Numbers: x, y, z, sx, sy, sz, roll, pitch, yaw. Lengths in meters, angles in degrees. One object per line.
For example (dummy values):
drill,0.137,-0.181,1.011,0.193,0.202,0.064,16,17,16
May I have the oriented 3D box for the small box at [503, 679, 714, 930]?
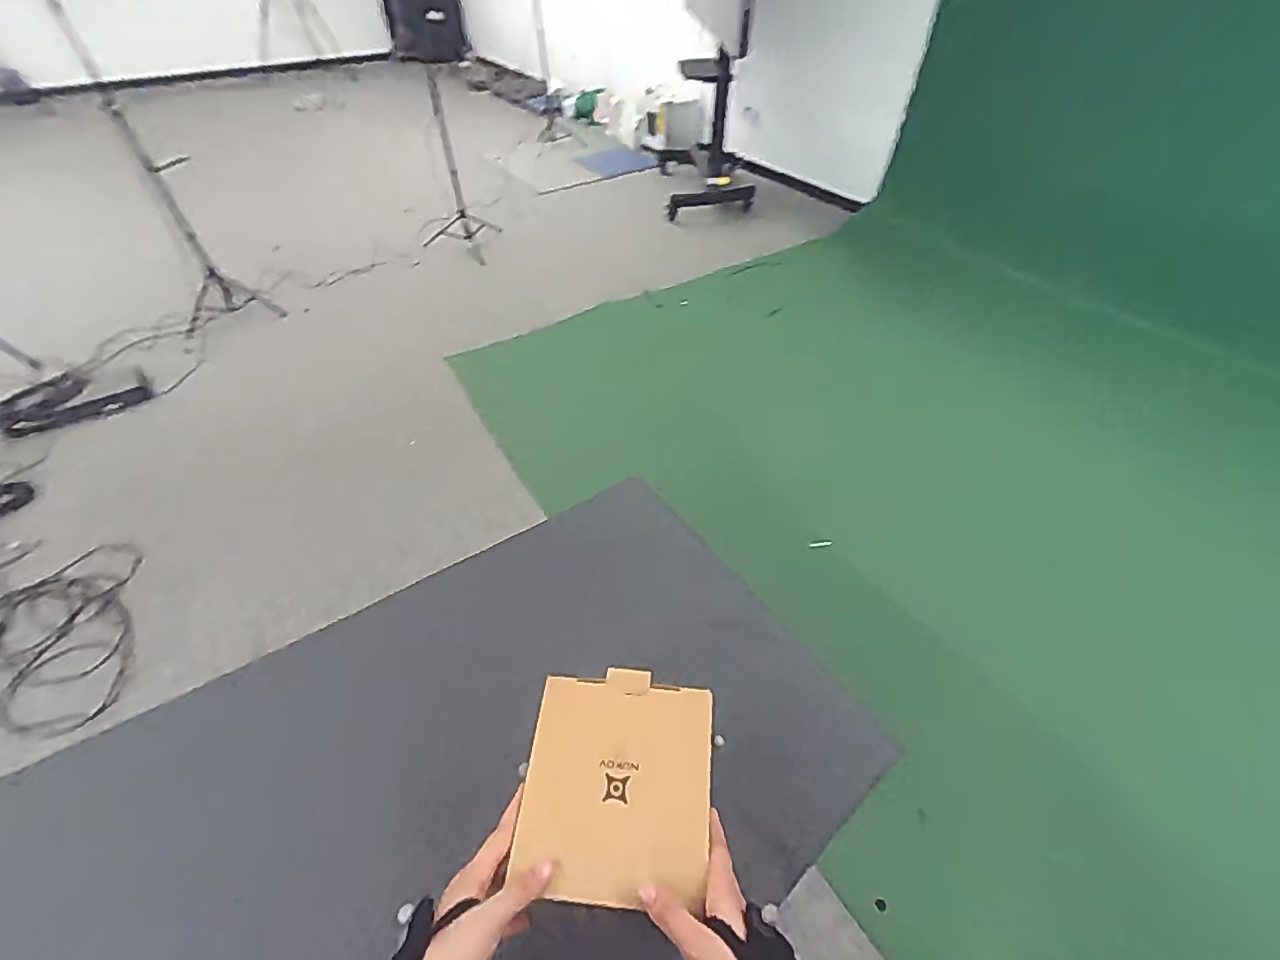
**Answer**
small box,-0.016,0.313,0.528,0.168,0.176,0.179,3,52,5
